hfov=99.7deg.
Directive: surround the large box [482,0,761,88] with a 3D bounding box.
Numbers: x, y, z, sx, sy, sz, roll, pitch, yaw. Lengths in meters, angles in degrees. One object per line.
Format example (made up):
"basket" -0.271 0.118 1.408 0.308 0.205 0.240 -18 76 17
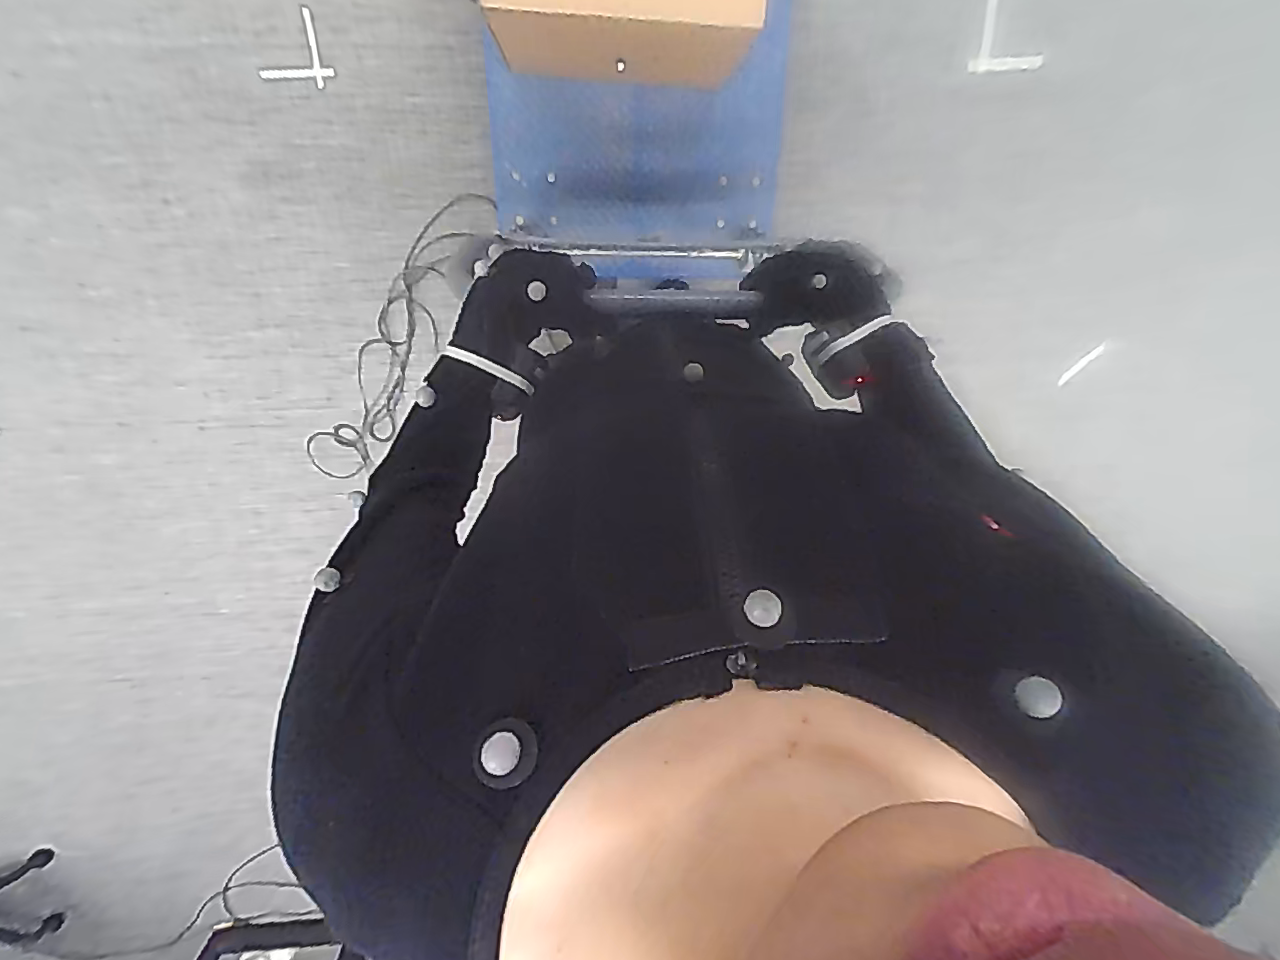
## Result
"large box" -0.028 -0.851 0.858 0.408 0.320 0.320 1 111 -3
